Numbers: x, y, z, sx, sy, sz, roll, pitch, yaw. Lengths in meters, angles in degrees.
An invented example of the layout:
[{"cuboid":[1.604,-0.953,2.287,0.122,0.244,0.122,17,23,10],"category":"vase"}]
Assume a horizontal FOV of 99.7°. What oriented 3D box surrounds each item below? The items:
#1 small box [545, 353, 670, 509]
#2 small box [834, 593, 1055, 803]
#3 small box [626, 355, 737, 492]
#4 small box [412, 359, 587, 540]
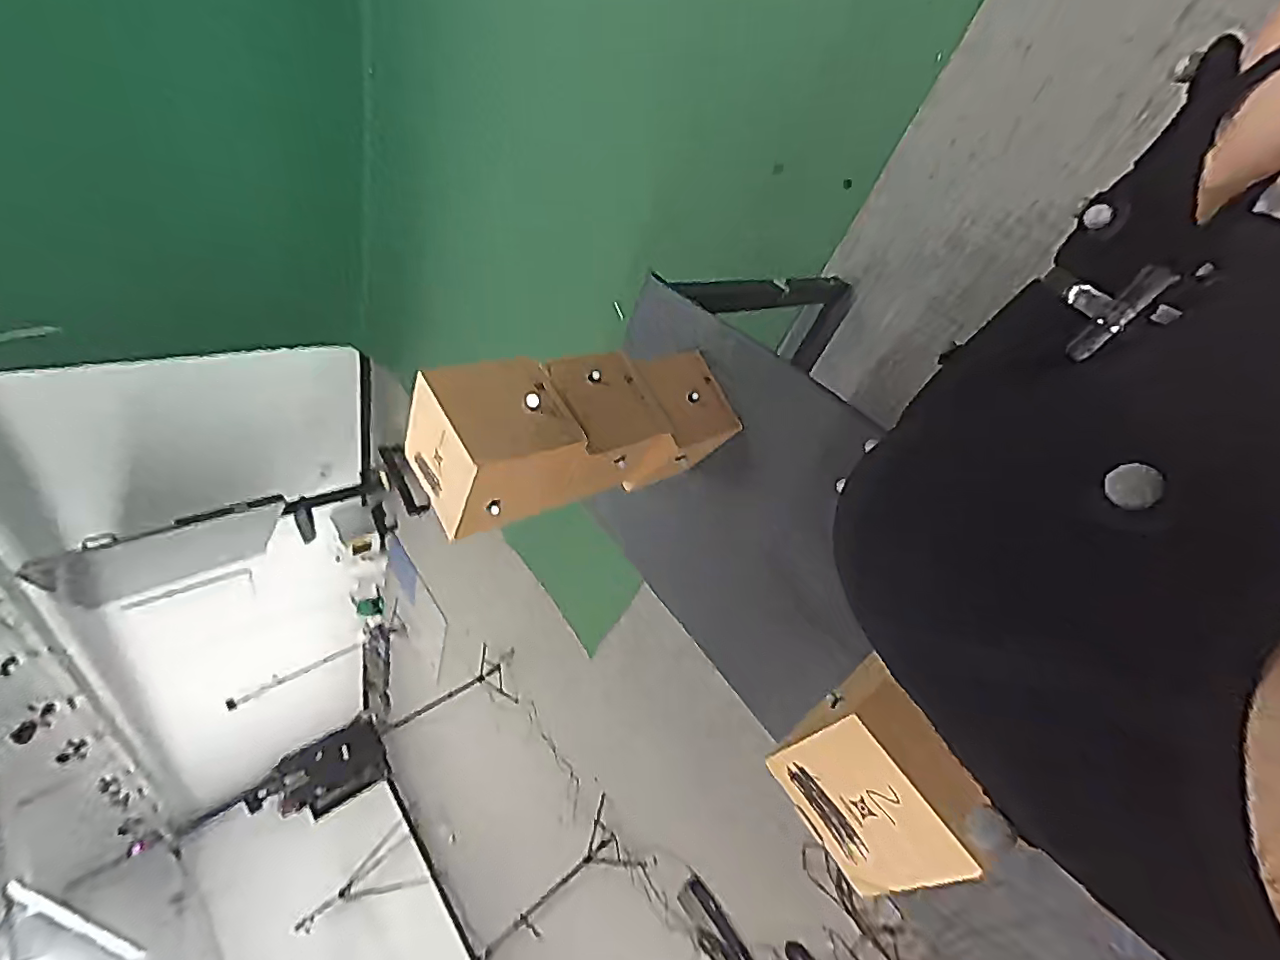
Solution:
[{"cuboid":[-0.077,-0.082,0.864,0.168,0.176,0.179,59,141,14],"category":"small box"},{"cuboid":[0.409,0.287,0.731,0.168,0.176,0.179,47,136,25],"category":"small box"},{"cuboid":[0.049,-0.105,0.967,0.179,0.176,0.168,-40,75,50],"category":"small box"},{"cuboid":[-0.198,-0.047,0.760,0.168,0.176,0.179,54,138,18],"category":"small box"}]
